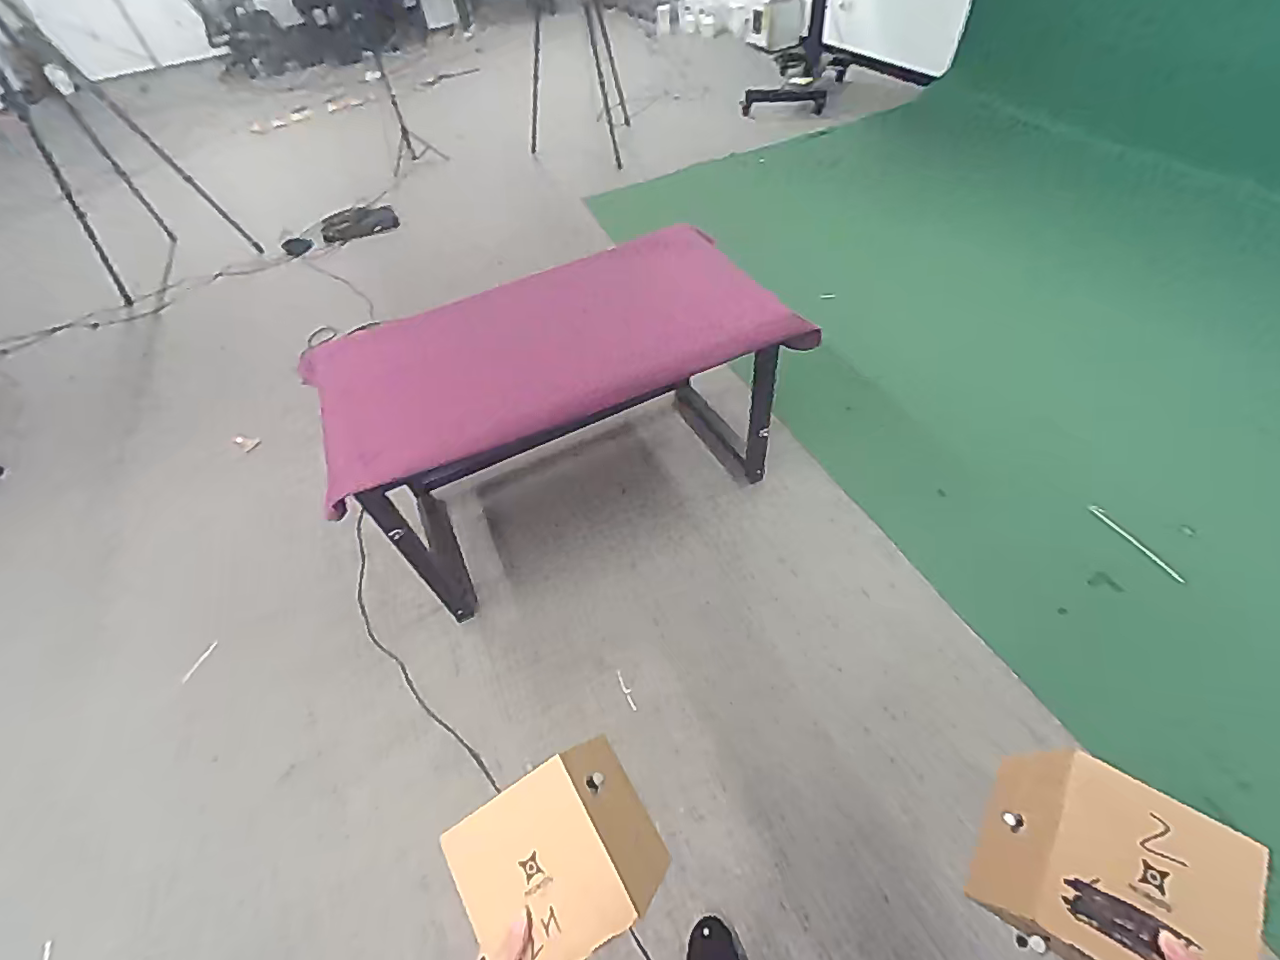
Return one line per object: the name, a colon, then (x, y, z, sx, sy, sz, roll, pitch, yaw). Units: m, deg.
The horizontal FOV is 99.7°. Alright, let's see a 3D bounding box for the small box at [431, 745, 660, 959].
small box: (-0.099, 0.432, 0.625, 0.168, 0.176, 0.179, -35, 68, 1)
